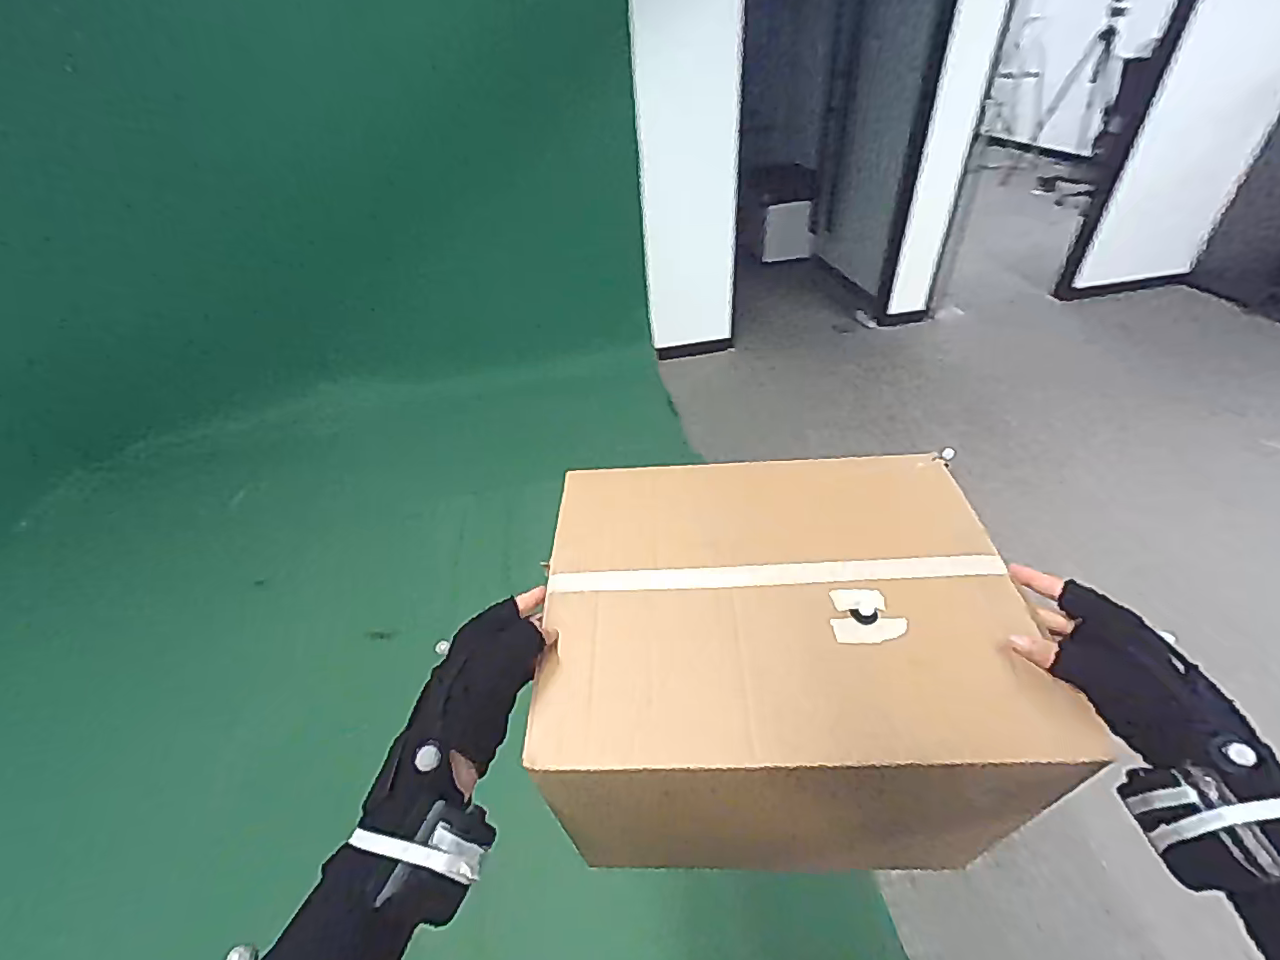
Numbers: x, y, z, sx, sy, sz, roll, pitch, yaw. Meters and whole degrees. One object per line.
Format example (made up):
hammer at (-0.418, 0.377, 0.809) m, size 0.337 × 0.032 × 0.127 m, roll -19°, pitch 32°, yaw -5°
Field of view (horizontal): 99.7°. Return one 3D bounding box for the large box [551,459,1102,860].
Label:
large box at (0.138, 0.197, 0.596) m, size 0.408 × 0.320 × 0.320 m, roll -2°, pitch 44°, yaw 3°
